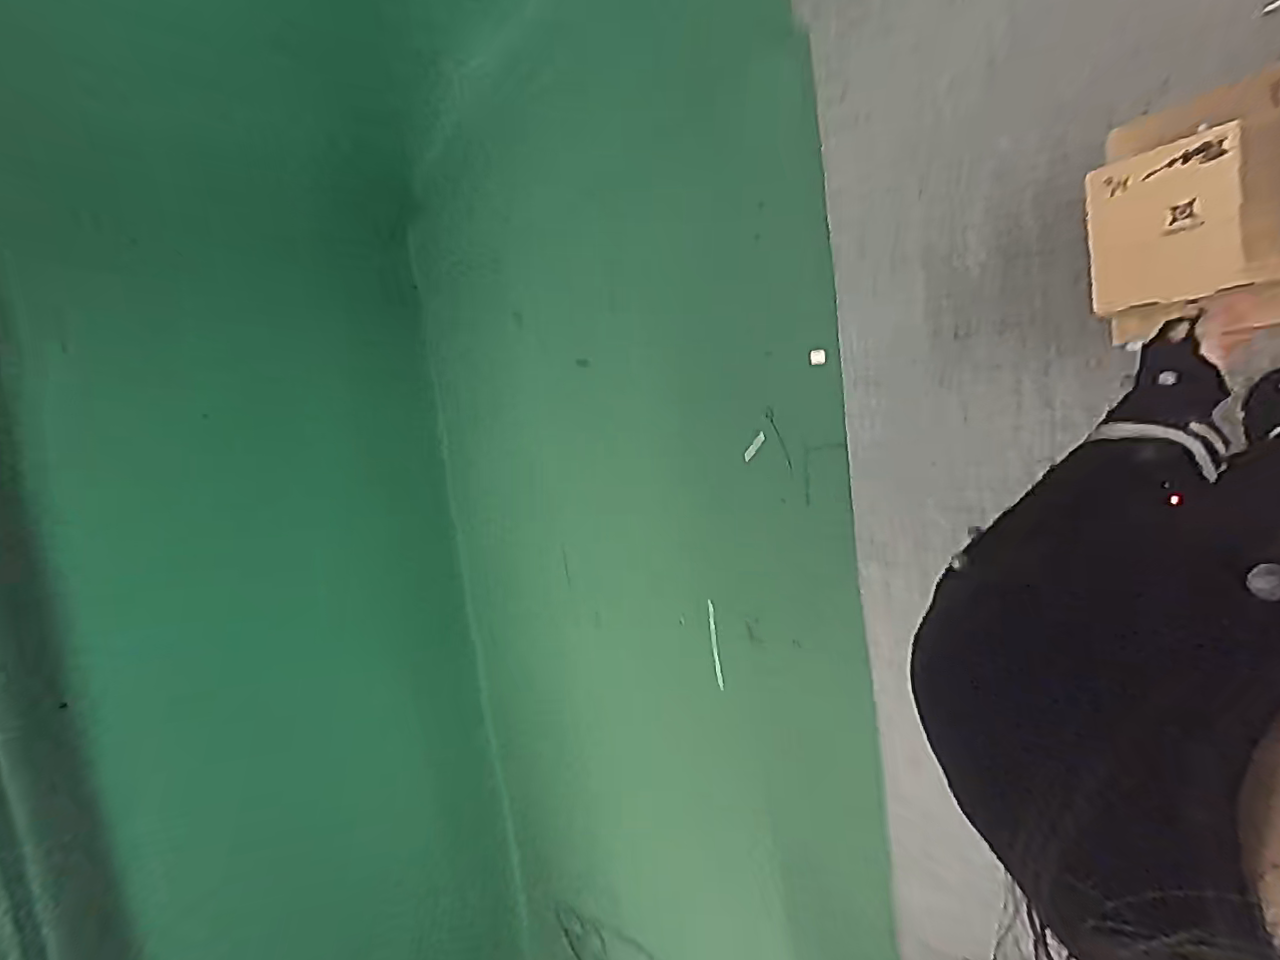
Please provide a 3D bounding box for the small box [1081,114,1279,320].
[{"bbox_3d":[0.674,-0.307,0.673,0.168,0.176,0.179,-3,99,48],"label":"small box"}]
